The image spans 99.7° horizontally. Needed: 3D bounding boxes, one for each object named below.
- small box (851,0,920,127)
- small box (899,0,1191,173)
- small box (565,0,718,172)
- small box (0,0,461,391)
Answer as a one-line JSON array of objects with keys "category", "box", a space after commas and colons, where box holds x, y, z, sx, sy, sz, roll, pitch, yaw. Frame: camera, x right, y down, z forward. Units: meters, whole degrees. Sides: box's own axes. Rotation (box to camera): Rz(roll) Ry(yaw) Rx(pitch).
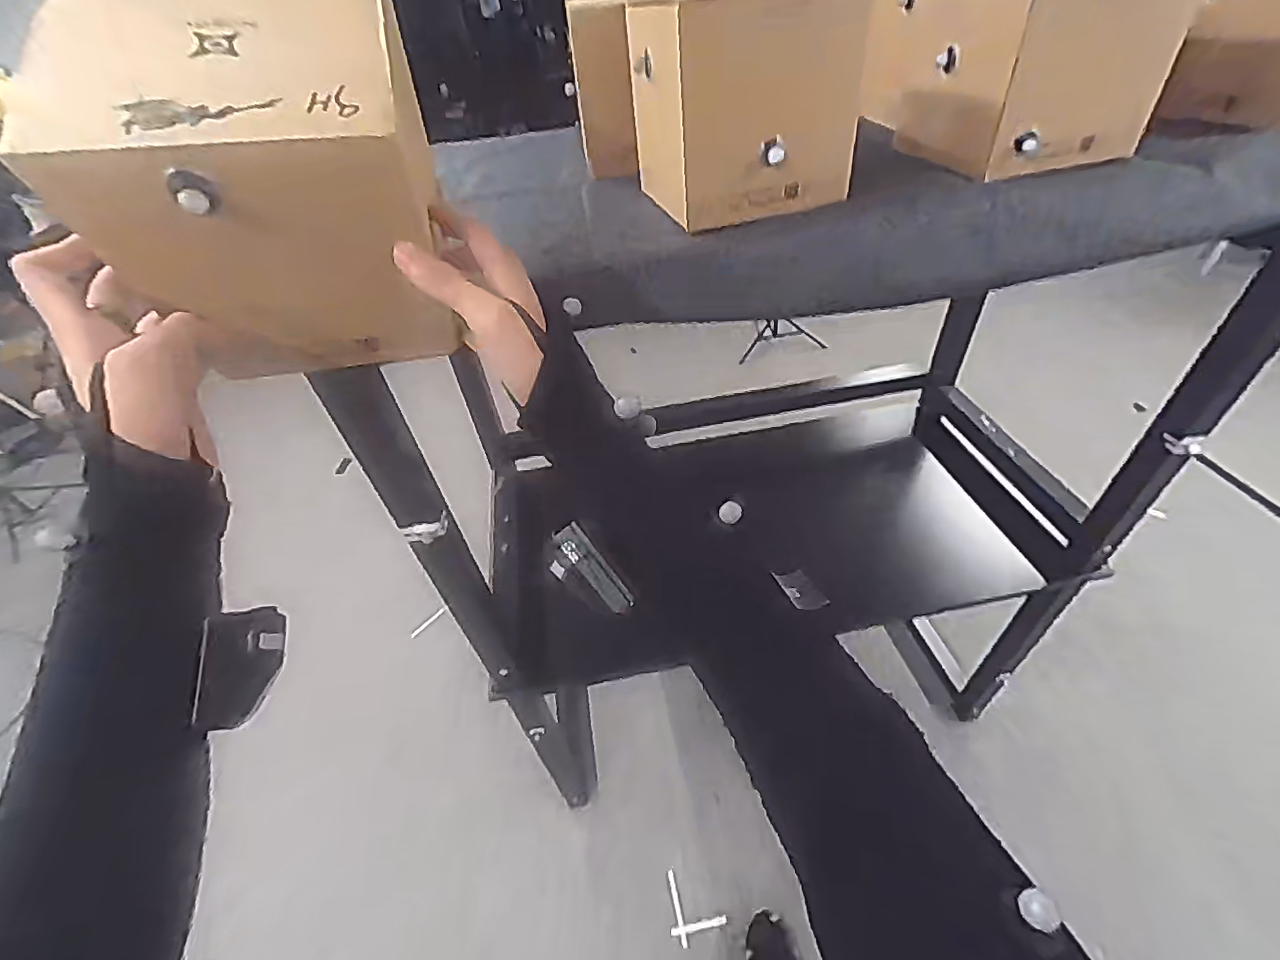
[{"category": "small box", "box": [0.400, -0.582, 0.710, 0.168, 0.176, 0.179, -11, 45, -3]}, {"category": "small box", "box": [0.394, -0.424, 0.543, 0.168, 0.176, 0.179, -12, 42, -4]}, {"category": "small box", "box": [0.002, -0.502, 0.679, 0.168, 0.176, 0.179, -8, 45, -2]}, {"category": "small box", "box": [-0.219, -0.182, 0.345, 0.168, 0.176, 0.179, -10, 67, -11]}]
